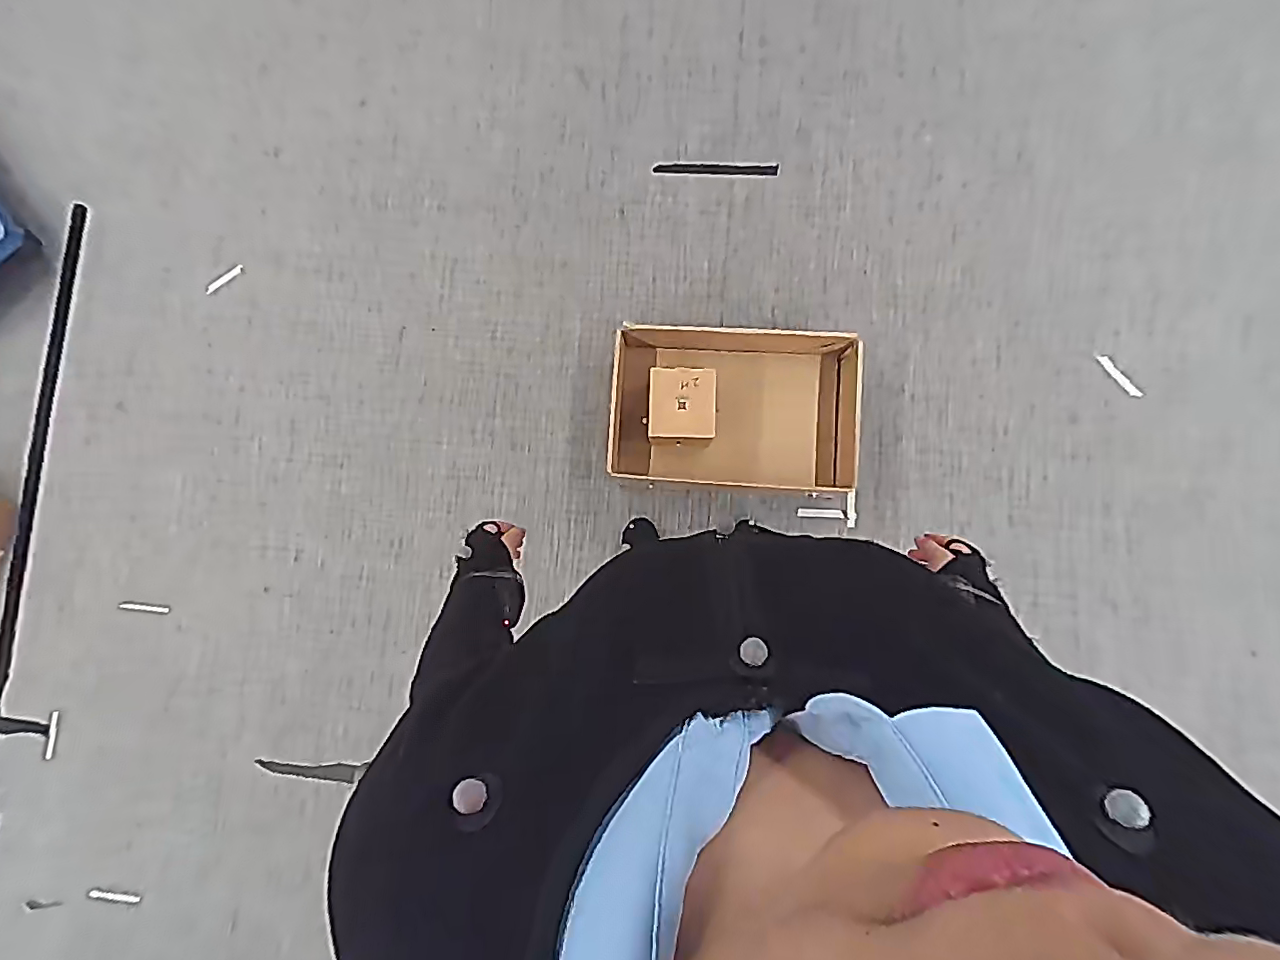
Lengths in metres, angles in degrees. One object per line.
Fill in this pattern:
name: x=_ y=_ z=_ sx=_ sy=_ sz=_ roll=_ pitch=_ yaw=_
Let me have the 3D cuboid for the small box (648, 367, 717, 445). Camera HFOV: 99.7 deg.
small box: x=0.110 y=-0.186 z=1.407 sx=0.168 sy=0.176 sz=0.179 roll=2 pitch=86 yaw=3
